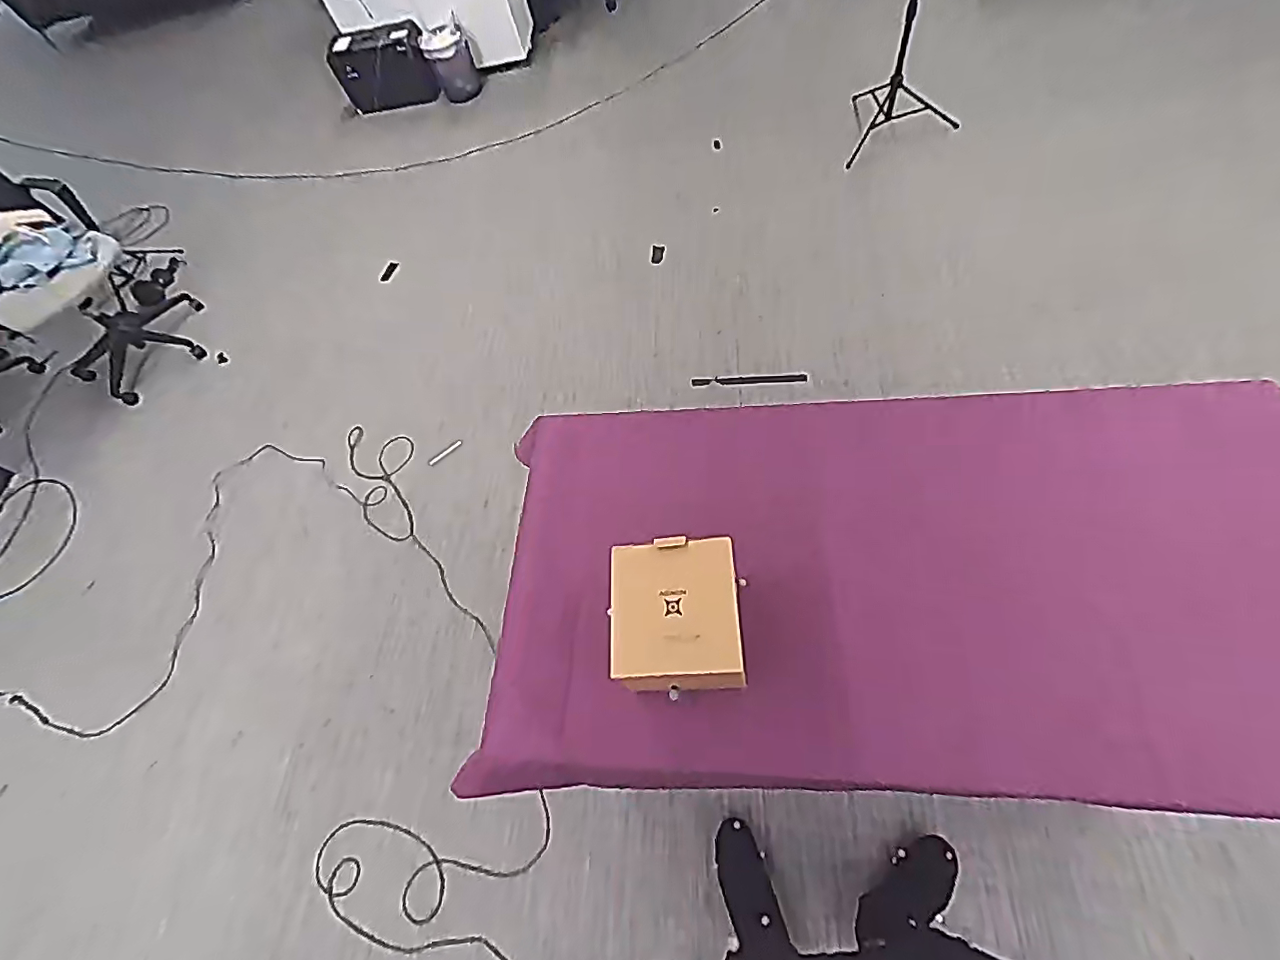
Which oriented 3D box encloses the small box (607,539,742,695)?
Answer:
[{"bbox_3d":[0.053,0.197,0.757,0.168,0.176,0.179,-6,62,9],"label":"small box"}]
